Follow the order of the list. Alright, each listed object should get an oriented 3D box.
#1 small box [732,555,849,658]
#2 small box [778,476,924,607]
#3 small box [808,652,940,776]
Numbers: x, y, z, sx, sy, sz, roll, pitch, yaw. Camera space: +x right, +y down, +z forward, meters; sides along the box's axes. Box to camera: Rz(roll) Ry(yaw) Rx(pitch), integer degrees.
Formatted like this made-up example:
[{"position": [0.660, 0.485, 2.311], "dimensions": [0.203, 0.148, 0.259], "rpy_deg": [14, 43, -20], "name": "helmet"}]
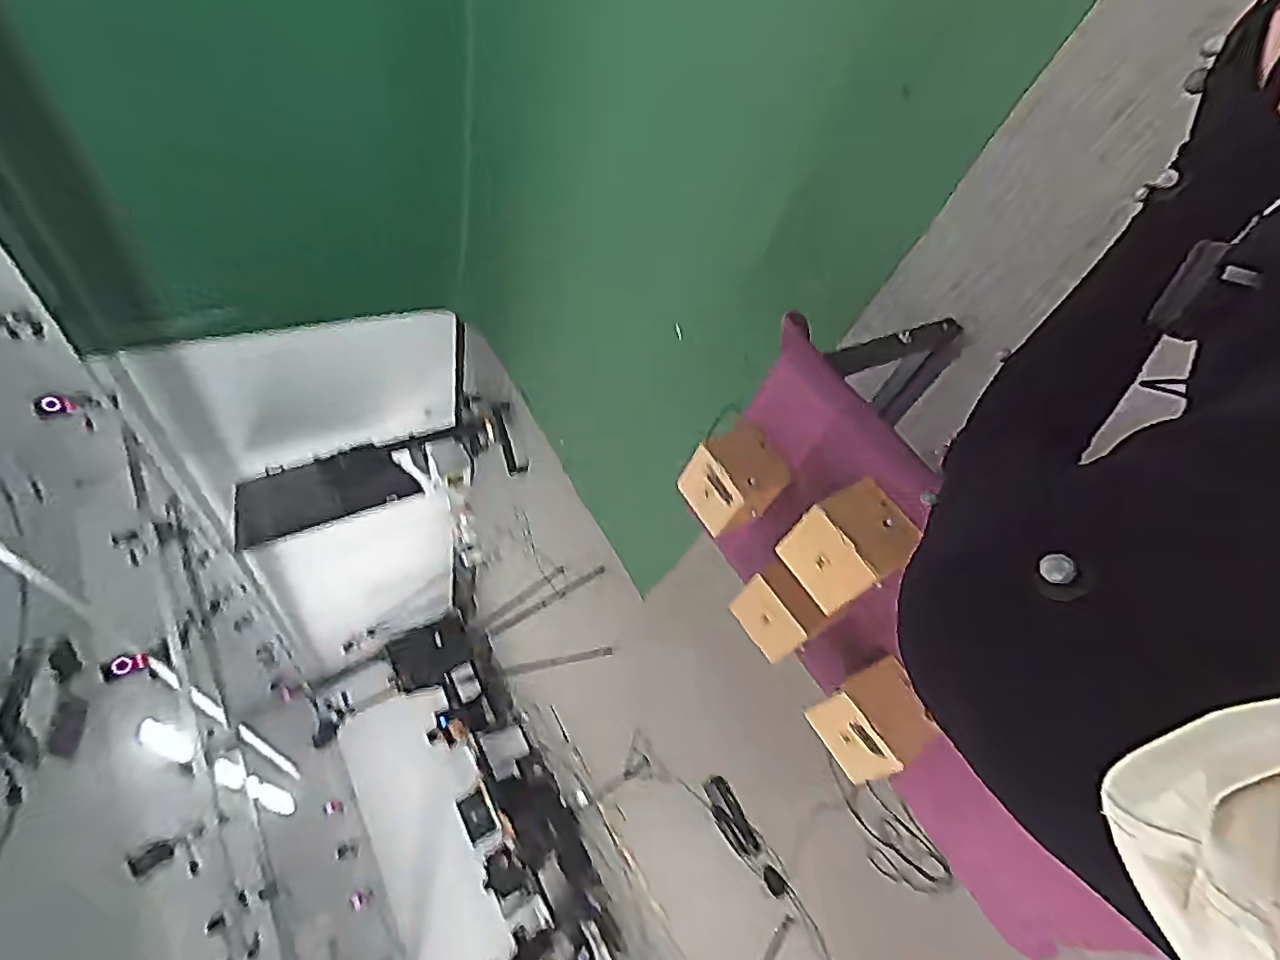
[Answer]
[{"position": [0.354, 0.284, 1.271], "dimensions": [0.168, 0.176, 0.179], "rpy_deg": [53, 144, 23], "name": "small box"}, {"position": [0.417, 0.120, 1.074], "dimensions": [0.168, 0.176, 0.179], "rpy_deg": [54, 146, 23], "name": "small box"}, {"position": [0.506, 0.498, 1.161], "dimensions": [0.168, 0.176, 0.179], "rpy_deg": [54, 146, 23], "name": "small box"}]
